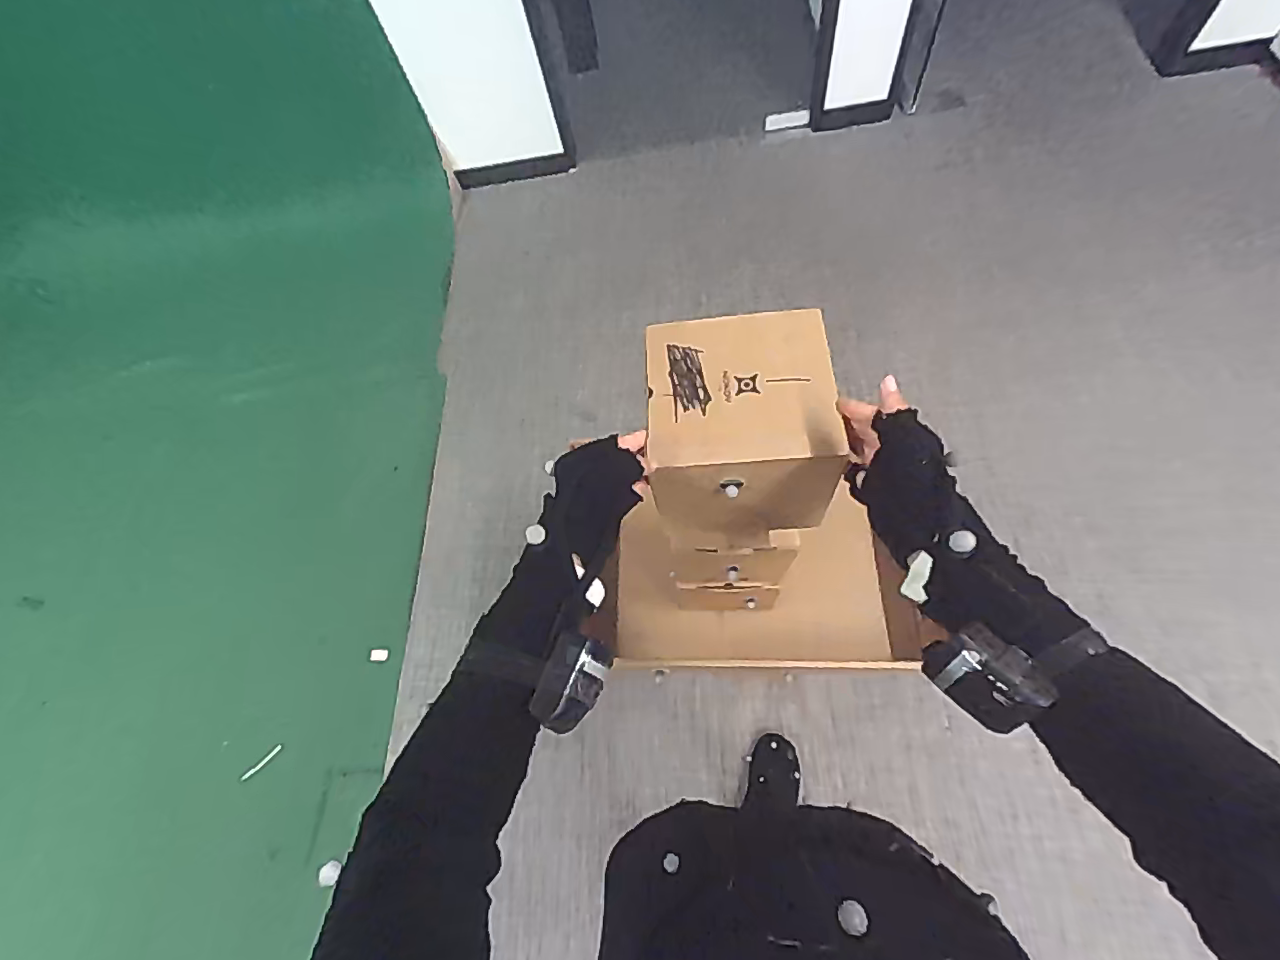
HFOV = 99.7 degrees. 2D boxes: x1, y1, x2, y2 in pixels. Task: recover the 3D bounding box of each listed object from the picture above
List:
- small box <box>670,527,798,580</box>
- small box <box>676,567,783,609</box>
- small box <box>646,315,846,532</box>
[{"bbox_3d":[0.132,0.046,0.794,0.168,0.176,0.179,-1,66,6],"label":"small box"},{"bbox_3d":[0.150,0.123,0.938,0.168,0.176,0.179,-2,63,6],"label":"small box"},{"bbox_3d":[0.104,-0.049,0.579,0.179,0.176,0.168,-3,63,7],"label":"small box"}]
